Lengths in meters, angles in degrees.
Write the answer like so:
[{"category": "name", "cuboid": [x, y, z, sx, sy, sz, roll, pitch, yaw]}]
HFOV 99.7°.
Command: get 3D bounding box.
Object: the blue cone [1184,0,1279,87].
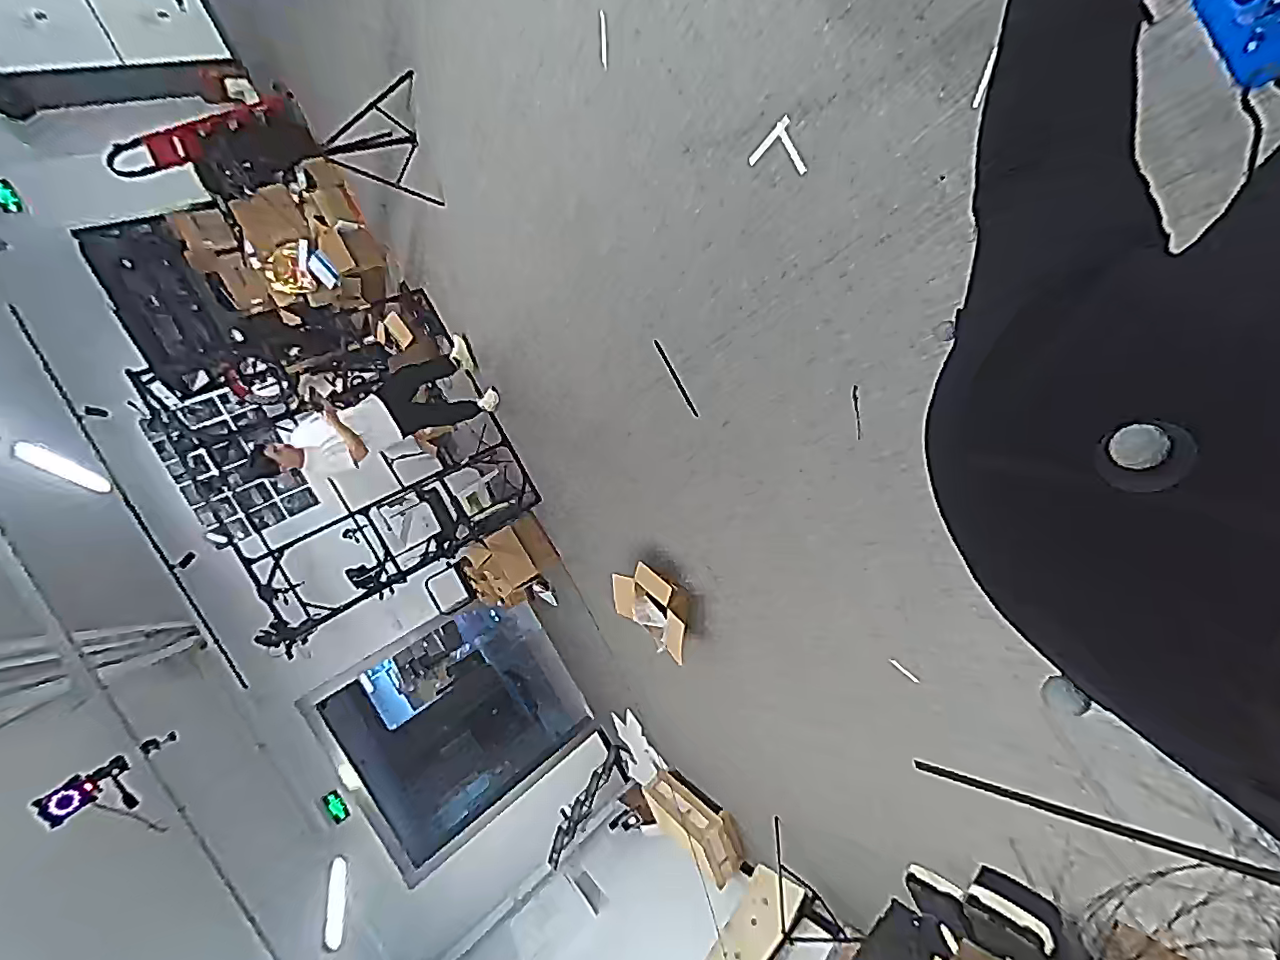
[{"category": "blue cone", "cuboid": [0.847, -0.662, 0.737, 0.193, 0.380, 0.192, 60, 152, 1]}]
